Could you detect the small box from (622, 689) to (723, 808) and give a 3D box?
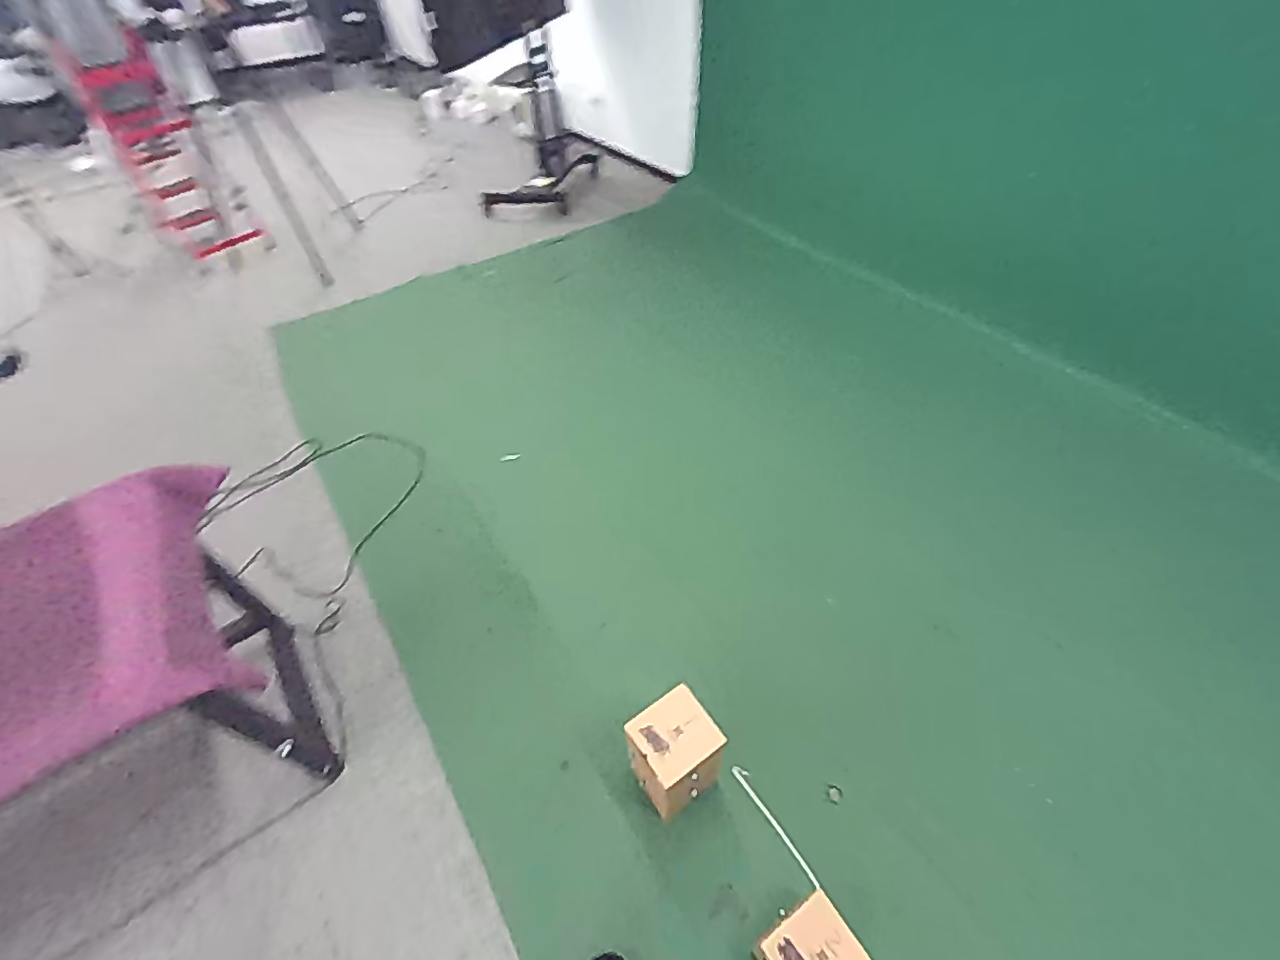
[{"bbox_3d":[0.078,0.640,1.282,0.179,0.176,0.168,-28,53,-21],"label":"small box"}]

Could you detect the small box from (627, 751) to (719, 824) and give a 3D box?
[{"bbox_3d":[0.082,0.751,1.403,0.179,0.176,0.168,-28,52,-21],"label":"small box"}]
